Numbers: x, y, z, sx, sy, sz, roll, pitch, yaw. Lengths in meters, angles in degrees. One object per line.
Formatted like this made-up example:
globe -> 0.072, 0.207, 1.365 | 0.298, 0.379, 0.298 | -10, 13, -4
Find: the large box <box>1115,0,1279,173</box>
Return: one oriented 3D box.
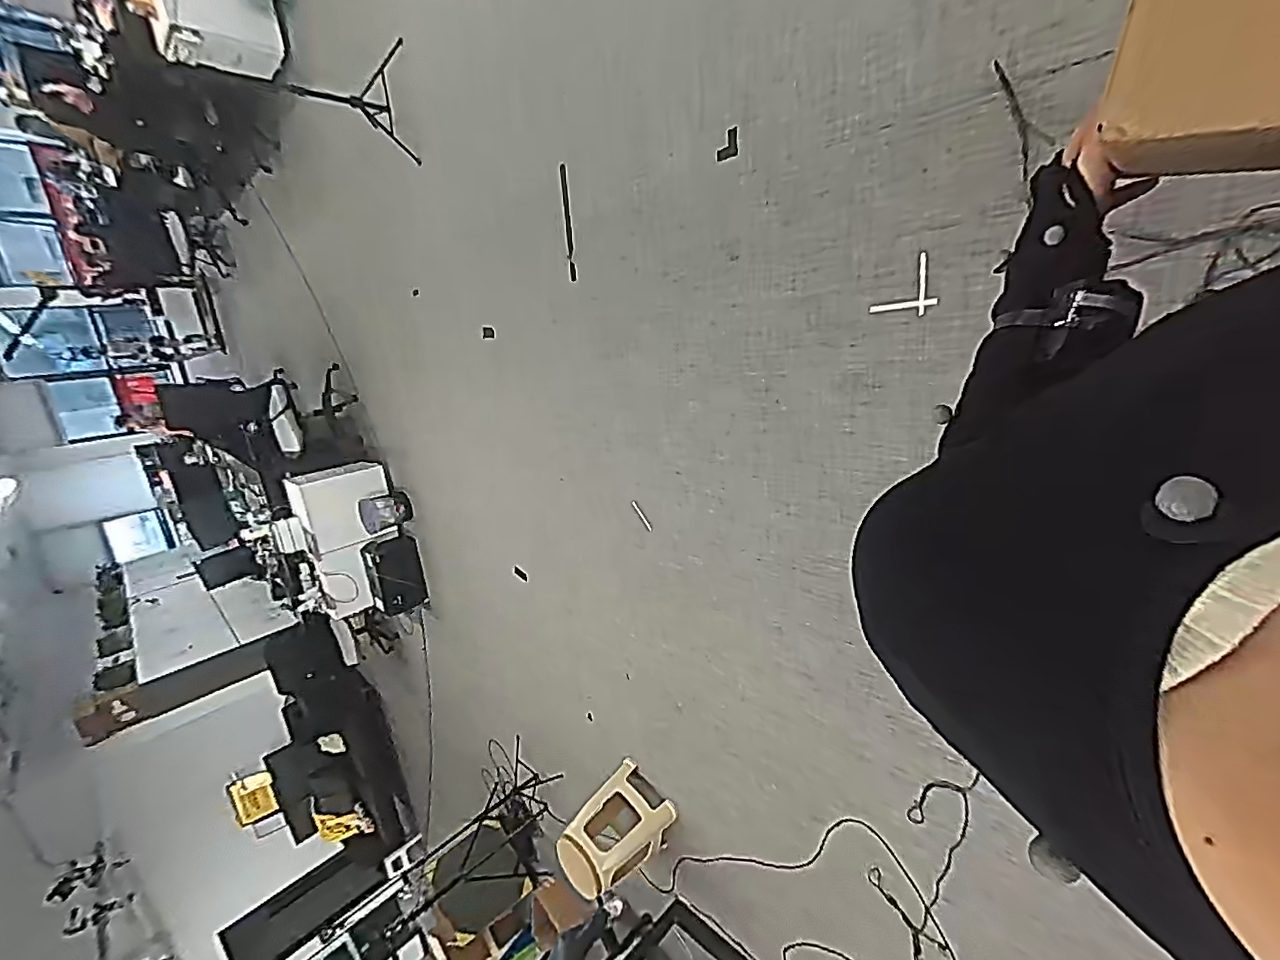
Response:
large box -> 0.447, -0.302, 0.168 | 0.408, 0.320, 0.320 | 17, 121, 36
